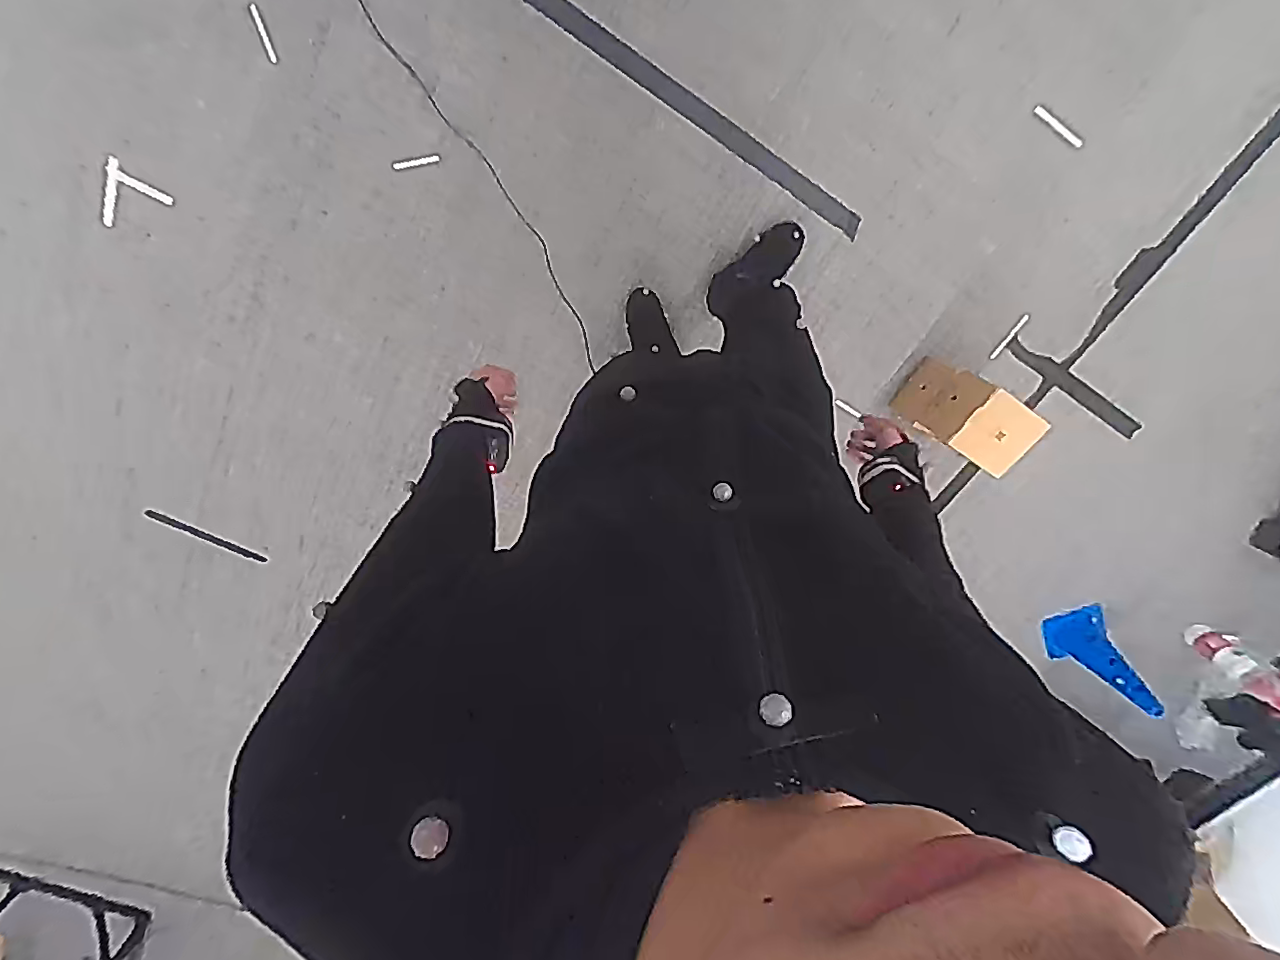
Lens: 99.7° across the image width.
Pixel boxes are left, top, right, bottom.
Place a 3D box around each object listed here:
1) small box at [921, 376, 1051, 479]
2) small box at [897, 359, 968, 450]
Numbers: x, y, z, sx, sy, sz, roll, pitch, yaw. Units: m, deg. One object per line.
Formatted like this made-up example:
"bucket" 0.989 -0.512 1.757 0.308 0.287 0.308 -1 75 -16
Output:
"small box" 0.851 -0.138 1.347 0.179 0.176 0.168 30 113 -11
"small box" 0.843 -0.210 1.493 0.168 0.176 0.179 26 112 -10
